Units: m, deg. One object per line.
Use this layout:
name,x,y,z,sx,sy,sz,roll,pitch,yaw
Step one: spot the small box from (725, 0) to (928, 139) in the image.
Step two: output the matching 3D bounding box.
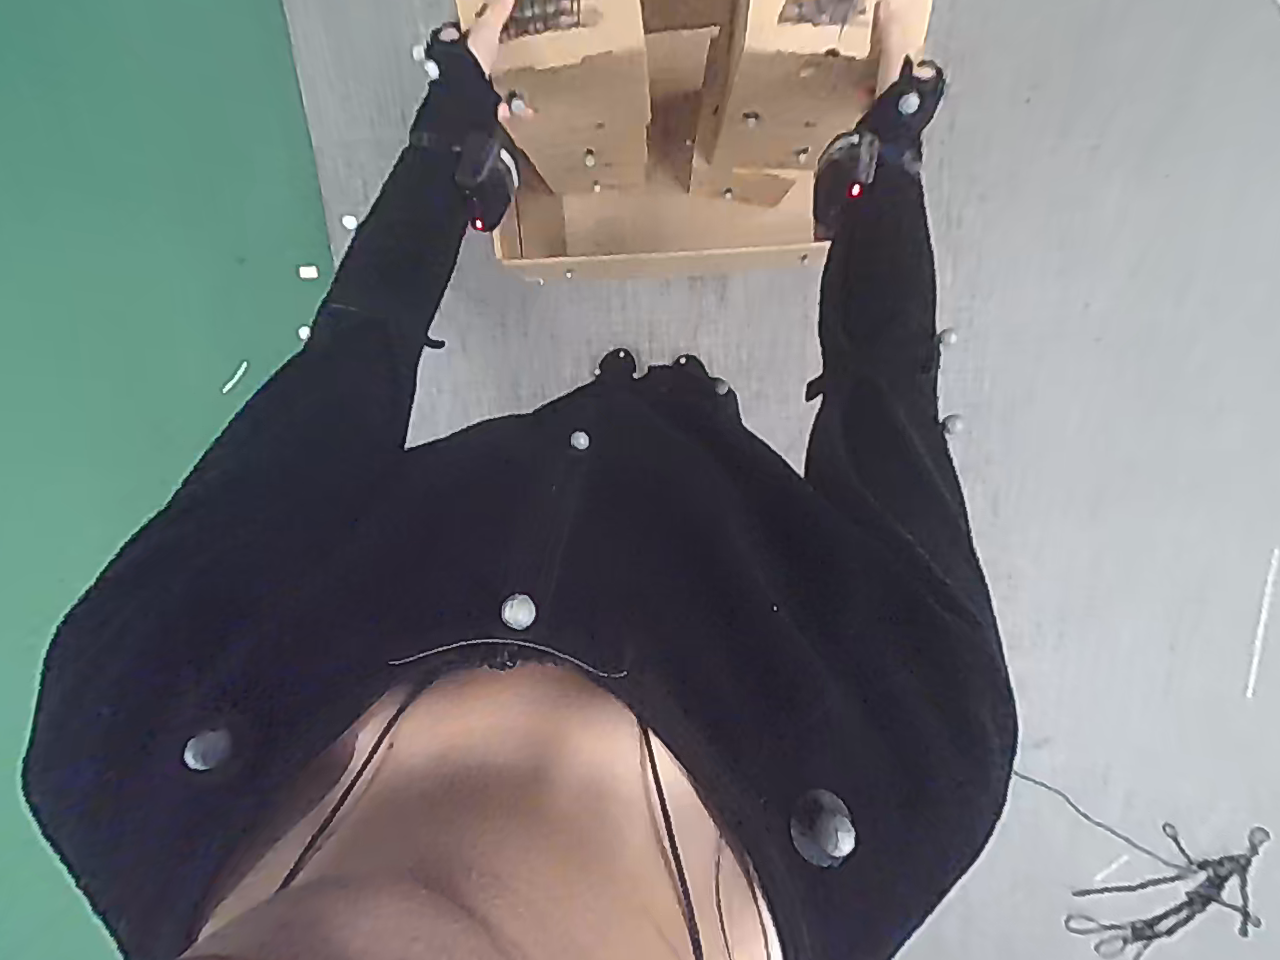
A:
small box,0.185,-0.481,0.557,0.168,0.176,0.179,6,103,1

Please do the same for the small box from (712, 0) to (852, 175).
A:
small box,0.188,-0.522,0.716,0.168,0.176,0.179,3,104,1

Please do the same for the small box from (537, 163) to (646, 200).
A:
small box,-0.081,-0.580,0.881,0.168,0.176,0.179,-5,104,5

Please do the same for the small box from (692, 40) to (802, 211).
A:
small box,0.178,-0.559,0.875,0.168,0.176,0.179,8,105,1

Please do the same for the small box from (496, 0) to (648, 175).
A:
small box,-0.079,-0.527,0.725,0.168,0.176,0.179,-5,104,4
